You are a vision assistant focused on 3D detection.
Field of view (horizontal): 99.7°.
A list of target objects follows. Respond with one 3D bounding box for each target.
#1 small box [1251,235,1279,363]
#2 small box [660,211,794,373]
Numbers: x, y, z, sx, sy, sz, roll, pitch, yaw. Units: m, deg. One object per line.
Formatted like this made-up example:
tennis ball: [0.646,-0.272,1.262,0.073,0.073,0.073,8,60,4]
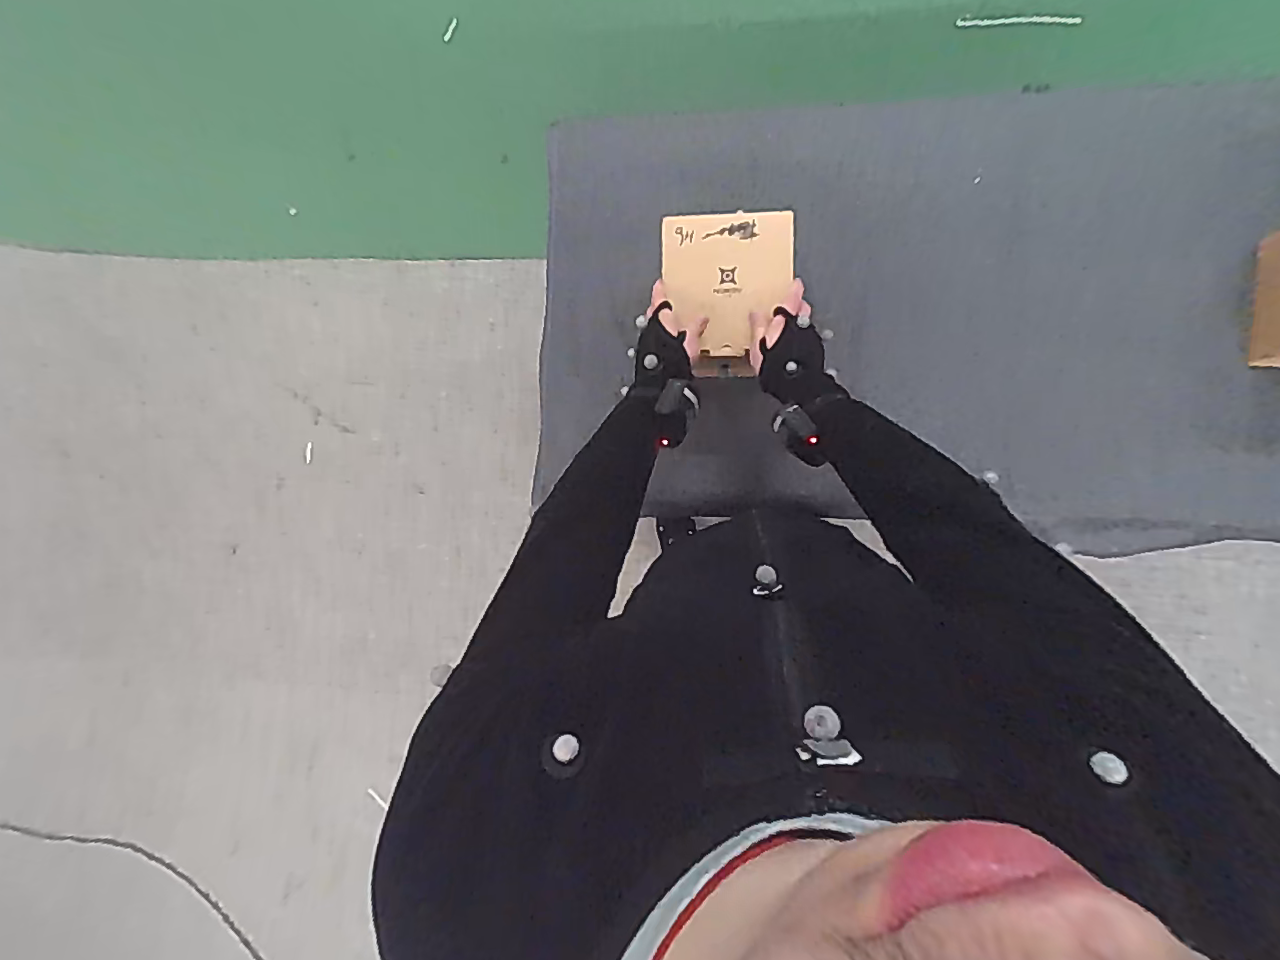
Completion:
small box: [0.917,-0.238,0.658,0.168,0.176,0.179,5,89,6]
small box: [0.117,-0.247,0.755,0.168,0.176,0.179,0,90,6]
